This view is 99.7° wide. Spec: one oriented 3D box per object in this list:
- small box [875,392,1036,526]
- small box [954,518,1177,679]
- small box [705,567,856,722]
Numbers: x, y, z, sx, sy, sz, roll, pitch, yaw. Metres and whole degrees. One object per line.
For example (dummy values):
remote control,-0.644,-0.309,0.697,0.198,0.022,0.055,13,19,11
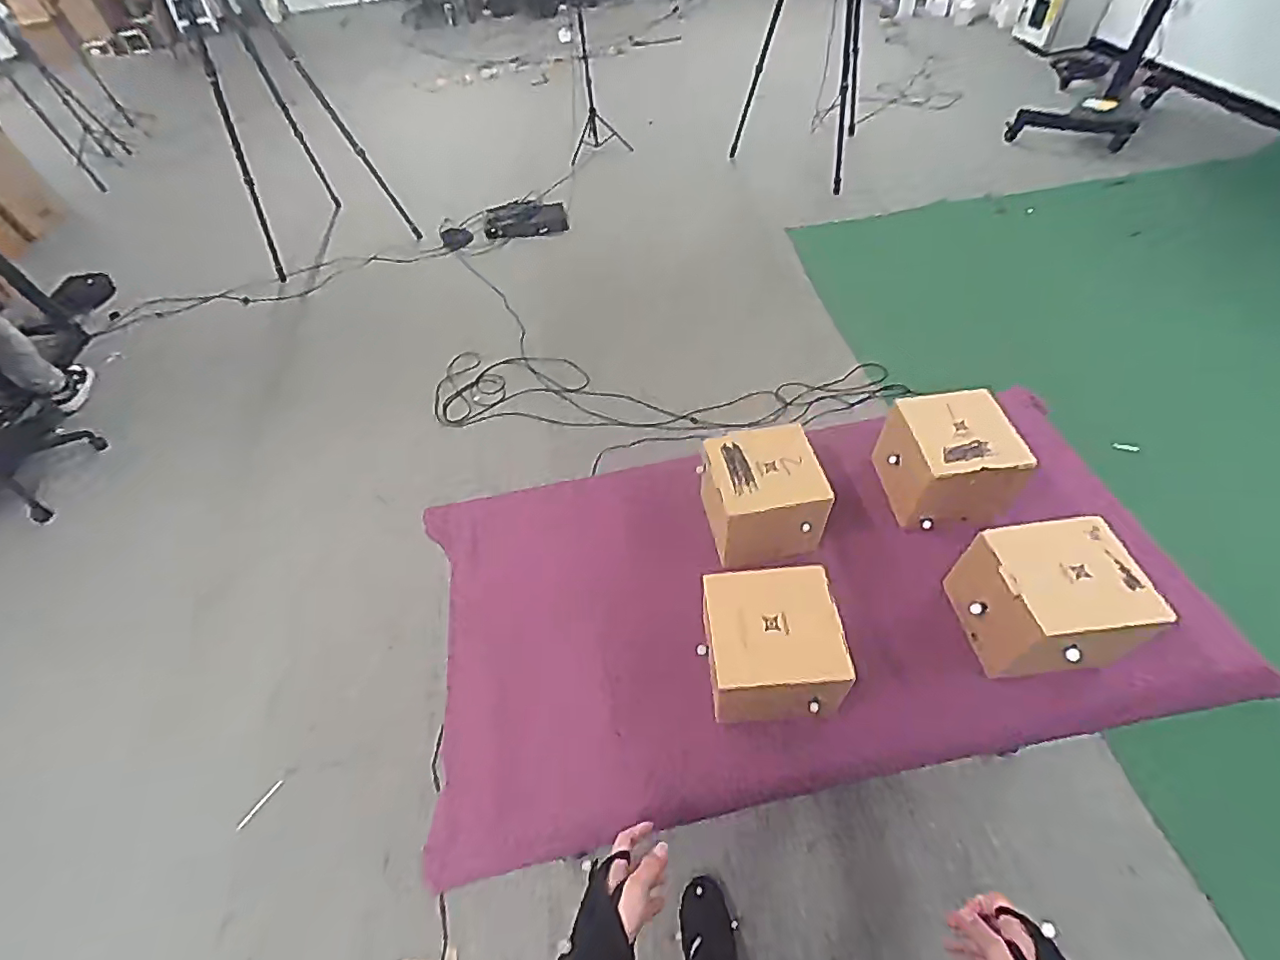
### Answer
small box,0.542,-0.030,0.959,0.168,0.176,0.179,-6,52,1
small box,0.594,0.179,0.793,0.179,0.176,0.168,-7,51,1
small box,0.189,0.243,0.788,0.179,0.176,0.168,-5,51,3
